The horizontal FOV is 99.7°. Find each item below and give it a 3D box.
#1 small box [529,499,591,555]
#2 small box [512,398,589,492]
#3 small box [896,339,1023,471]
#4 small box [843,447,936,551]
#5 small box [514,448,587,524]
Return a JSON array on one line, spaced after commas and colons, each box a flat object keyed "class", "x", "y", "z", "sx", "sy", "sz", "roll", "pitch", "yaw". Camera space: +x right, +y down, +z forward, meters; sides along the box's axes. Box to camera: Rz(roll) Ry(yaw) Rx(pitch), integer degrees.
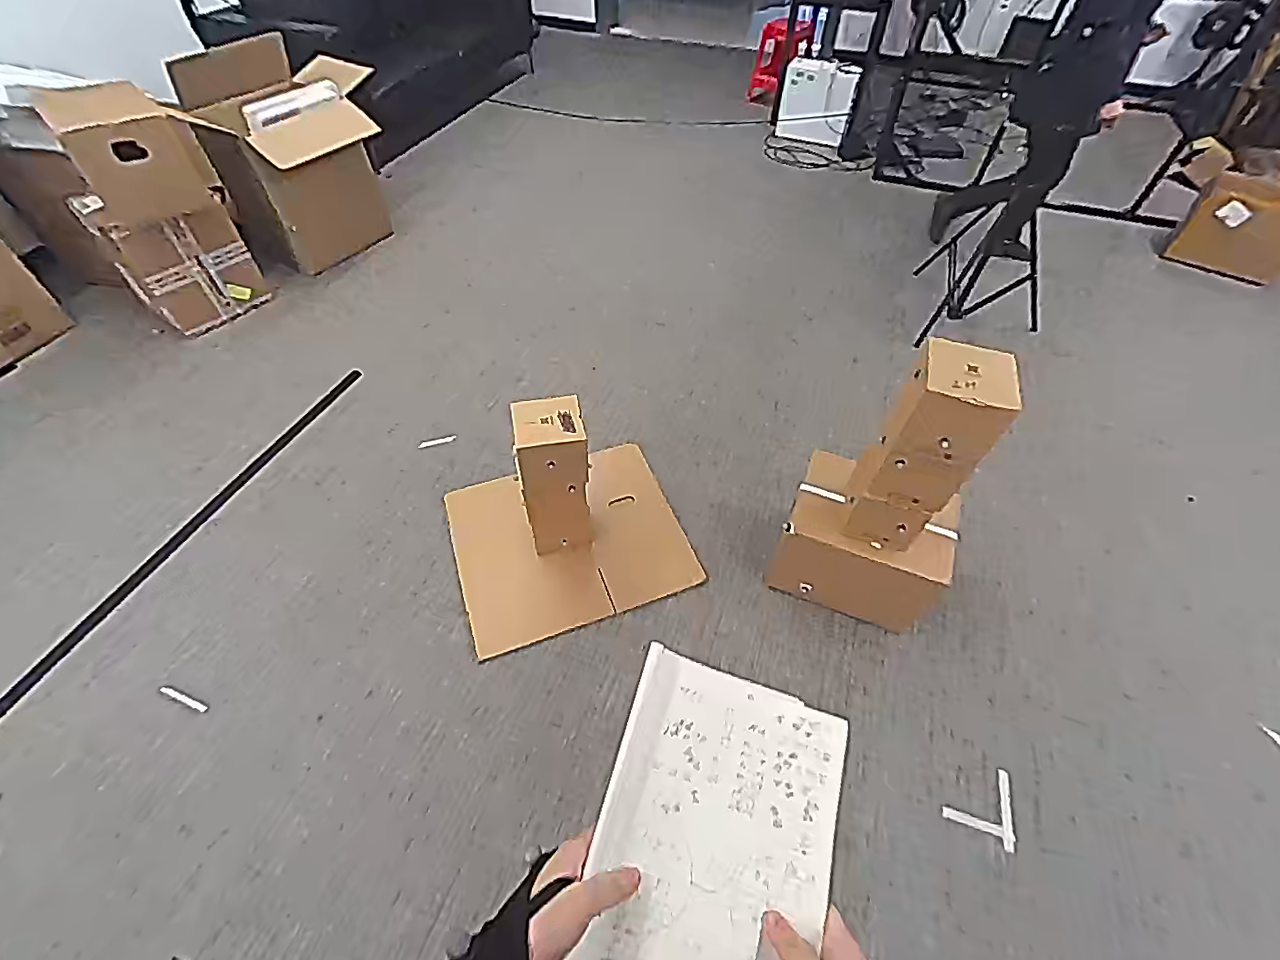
[{"class": "small box", "x": -0.254, "y": 0.108, "z": 1.668, "sx": 0.179, "sy": 0.176, "sz": 0.168, "roll": -12, "pitch": 52, "yaw": -14}, {"class": "small box", "x": -0.230, "y": -0.090, "z": 1.407, "sx": 0.179, "sy": 0.176, "sz": 0.168, "roll": -9, "pitch": 52, "yaw": -10}, {"class": "small box", "x": 0.634, "y": -0.150, "z": 1.092, "sx": 0.168, "sy": 0.176, "sz": 0.179, "roll": 16, "pitch": 53, "yaw": 11}, {"class": "small box", "x": 0.618, "y": 0.051, "z": 1.352, "sx": 0.168, "sy": 0.176, "sz": 0.179, "roll": 15, "pitch": 52, "yaw": 9}, {"class": "small box", "x": -0.252, "y": 0.007, "z": 1.540, "sx": 0.179, "sy": 0.176, "sz": 0.168, "roll": -11, "pitch": 52, "yaw": -12}]
